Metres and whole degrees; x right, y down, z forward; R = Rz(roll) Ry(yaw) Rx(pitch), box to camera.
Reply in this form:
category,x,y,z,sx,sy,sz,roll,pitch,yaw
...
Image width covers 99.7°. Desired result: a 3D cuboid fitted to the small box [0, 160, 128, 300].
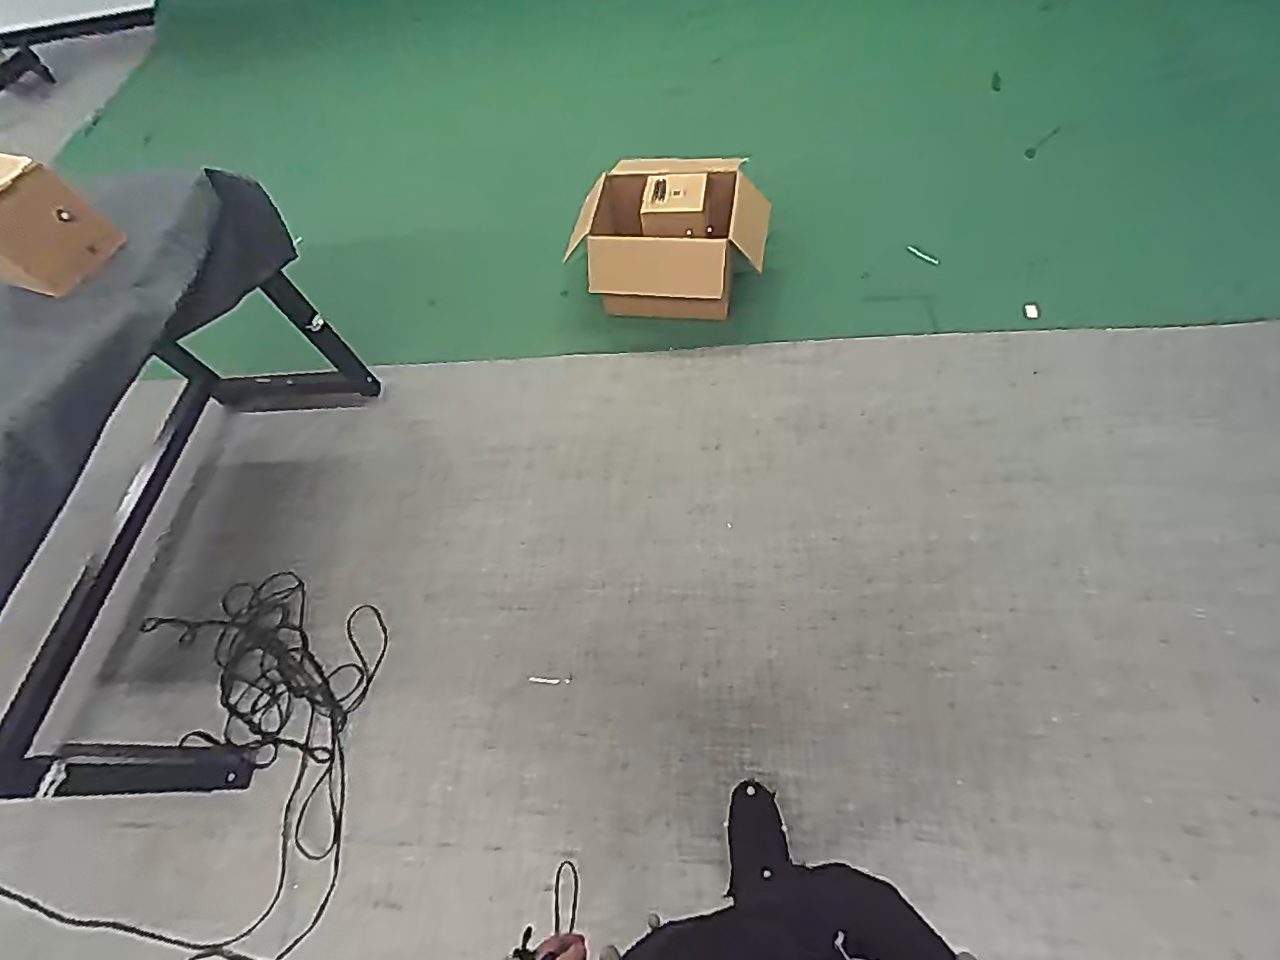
category,x,y,z,sx,sy,sz,roll,pitch,yaw
small box,-1.127,-0.458,1.001,0.179,0.176,0.168,15,63,17
